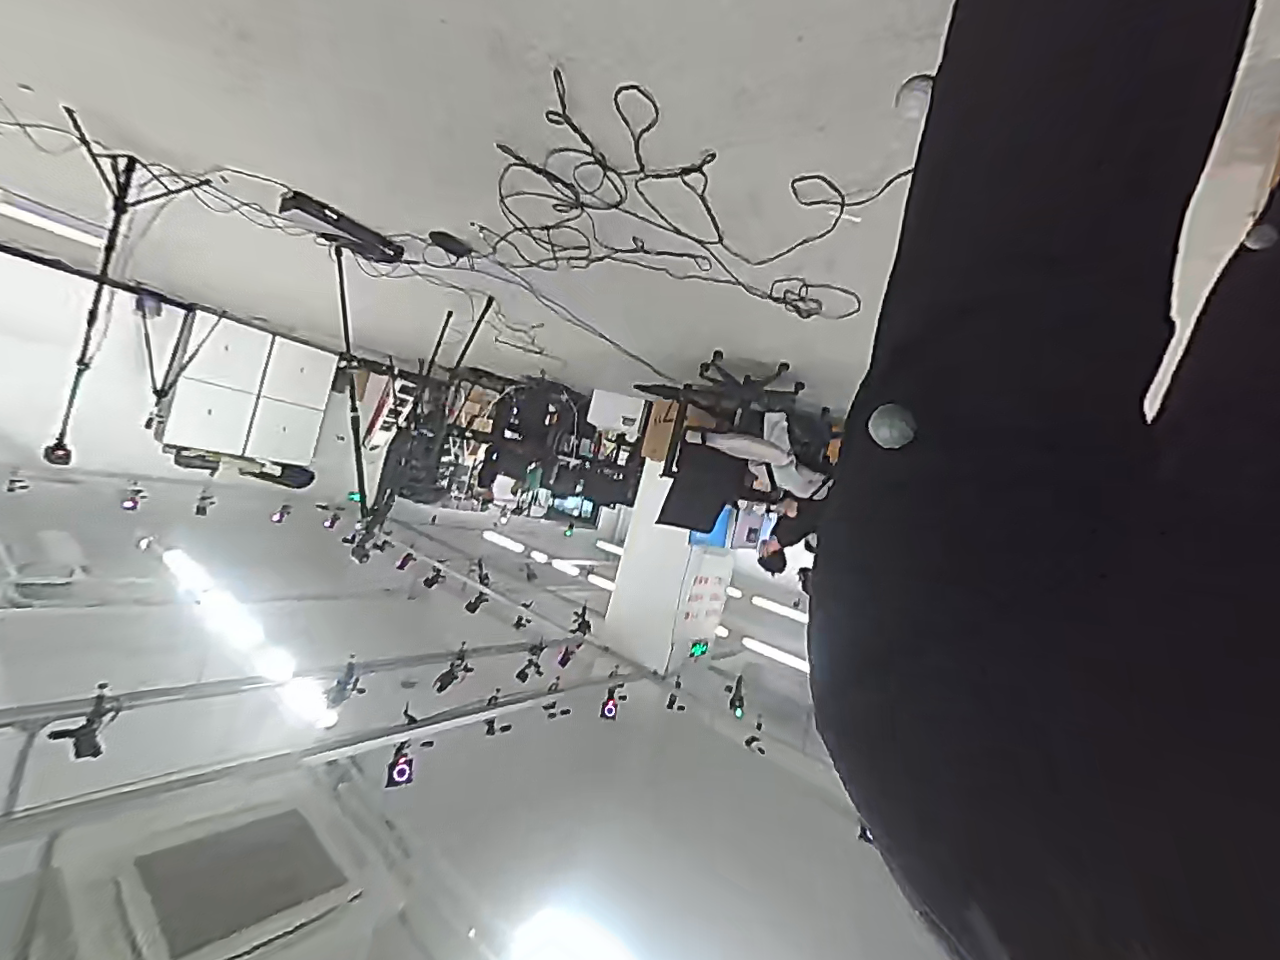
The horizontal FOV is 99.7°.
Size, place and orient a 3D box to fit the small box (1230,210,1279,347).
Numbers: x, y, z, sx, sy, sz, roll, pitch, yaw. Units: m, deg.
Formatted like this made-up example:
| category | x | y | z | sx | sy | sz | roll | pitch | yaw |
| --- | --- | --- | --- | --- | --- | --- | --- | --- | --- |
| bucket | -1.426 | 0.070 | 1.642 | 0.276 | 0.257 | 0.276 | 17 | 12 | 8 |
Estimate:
| category | x | y | z | sx | sy | sz | roll | pitch | yaw |
| --- | --- | --- | --- | --- | --- | --- | --- | --- | --- |
| small box | 1.081 | -0.318 | 0.851 | 0.168 | 0.176 | 0.179 | 12 | 178 | 41 |

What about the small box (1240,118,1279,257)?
| category | x | y | z | sx | sy | sz | roll | pitch | yaw |
| --- | --- | --- | --- | --- | --- | --- | --- | --- | --- |
| small box | 1.109 | -0.480 | 0.854 | 0.179 | 0.176 | 0.168 | 13 | 179 | 41 |
